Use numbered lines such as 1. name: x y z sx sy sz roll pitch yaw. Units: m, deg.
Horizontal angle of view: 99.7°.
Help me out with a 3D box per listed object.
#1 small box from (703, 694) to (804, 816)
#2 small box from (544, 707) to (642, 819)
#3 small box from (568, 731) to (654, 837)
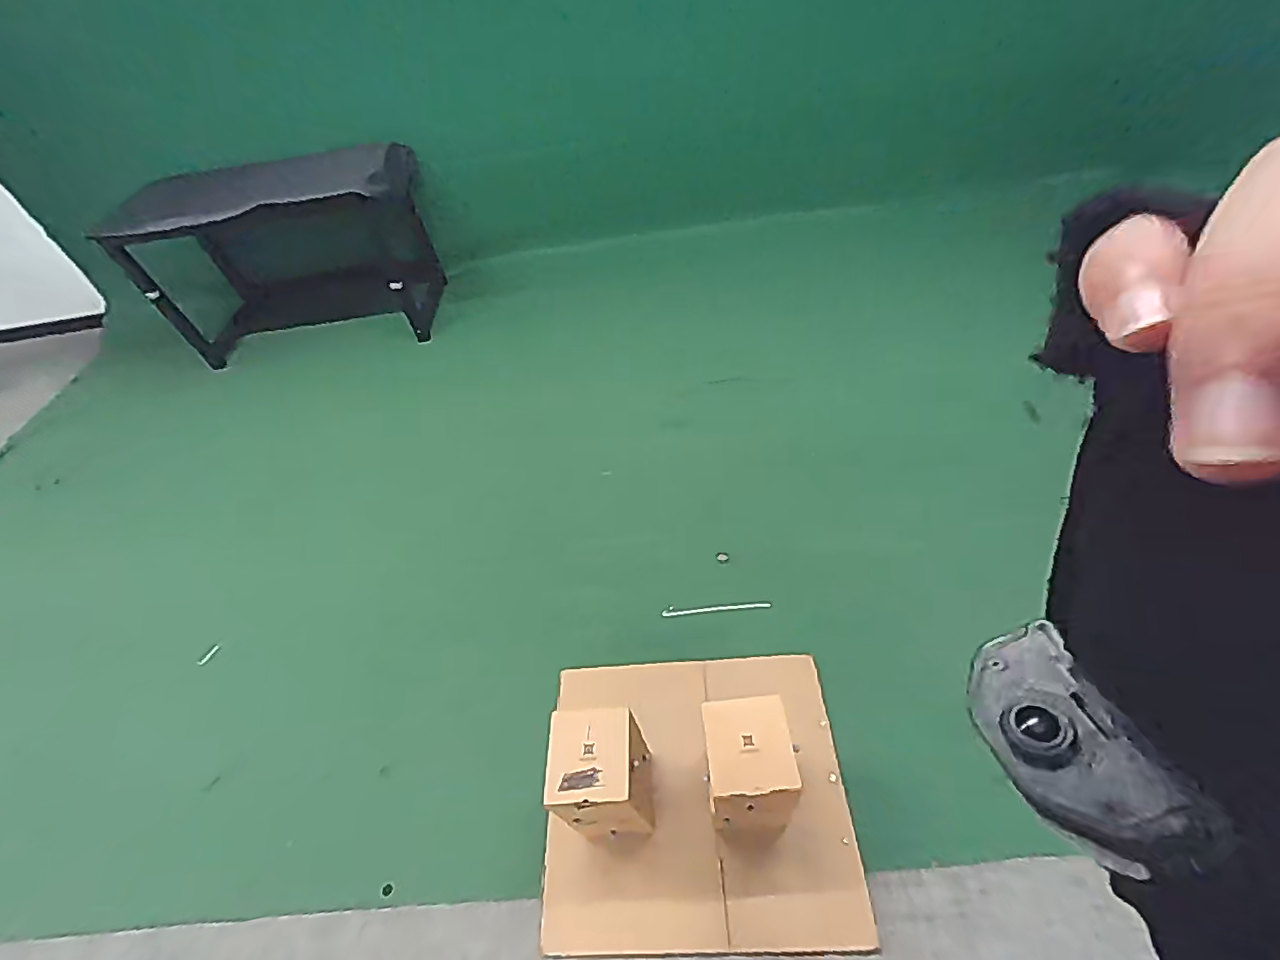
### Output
1. small box: 0.221 0.558 1.095 0.168 0.176 0.179 -8 48 3
2. small box: -0.087 0.590 1.119 0.168 0.176 0.179 -6 47 6
3. small box: -0.062 0.699 1.239 0.168 0.176 0.179 -8 48 5
